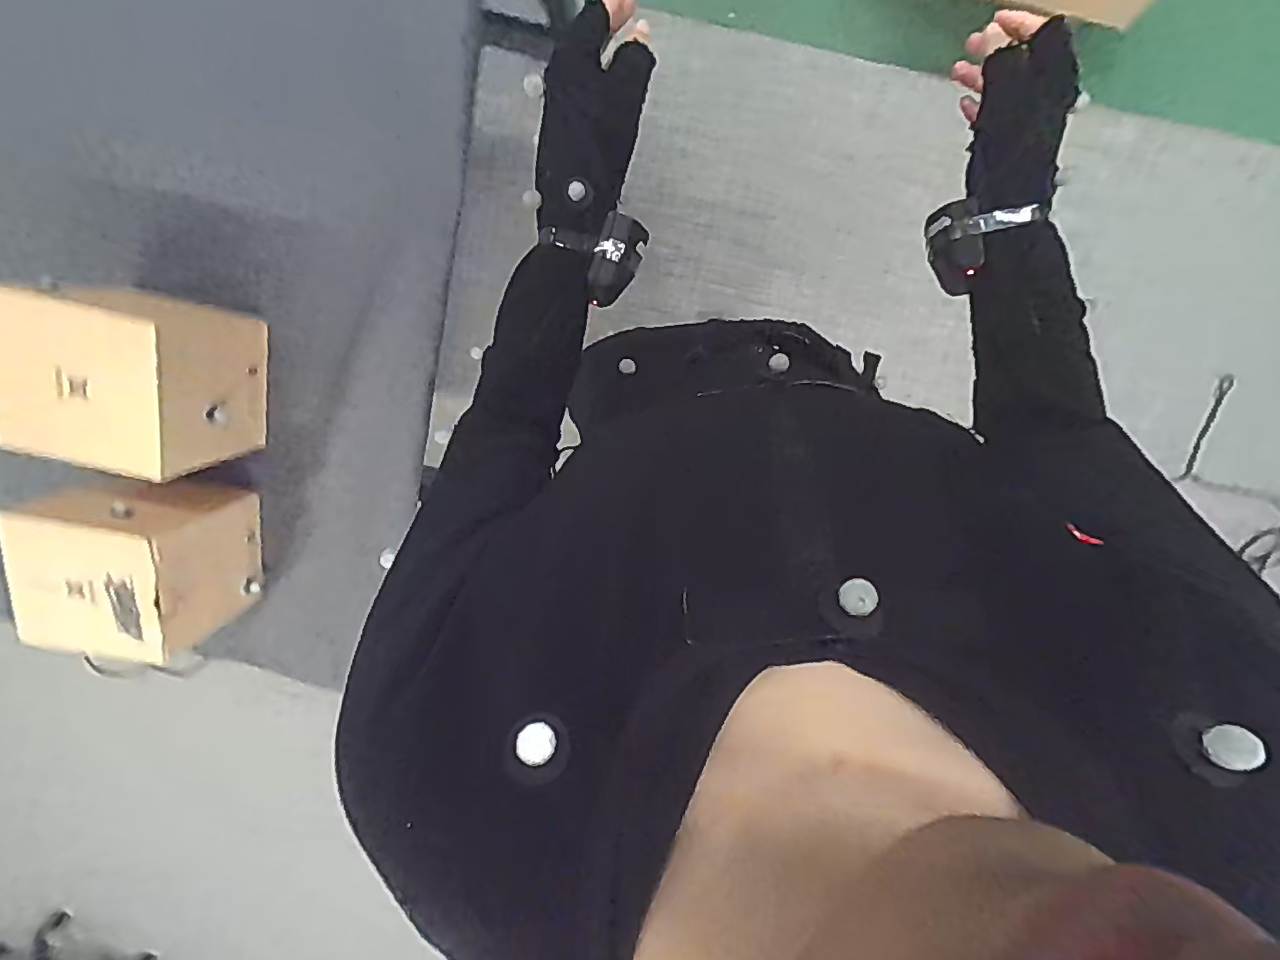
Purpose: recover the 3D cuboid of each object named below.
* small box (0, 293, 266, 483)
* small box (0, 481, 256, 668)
[{"bbox_3d":[-0.566,-0.112,0.619,0.179,0.176,0.168,12,107,-1],"label":"small box"},{"bbox_3d":[-0.622,0.108,0.685,0.179,0.176,0.168,9,107,0],"label":"small box"}]
